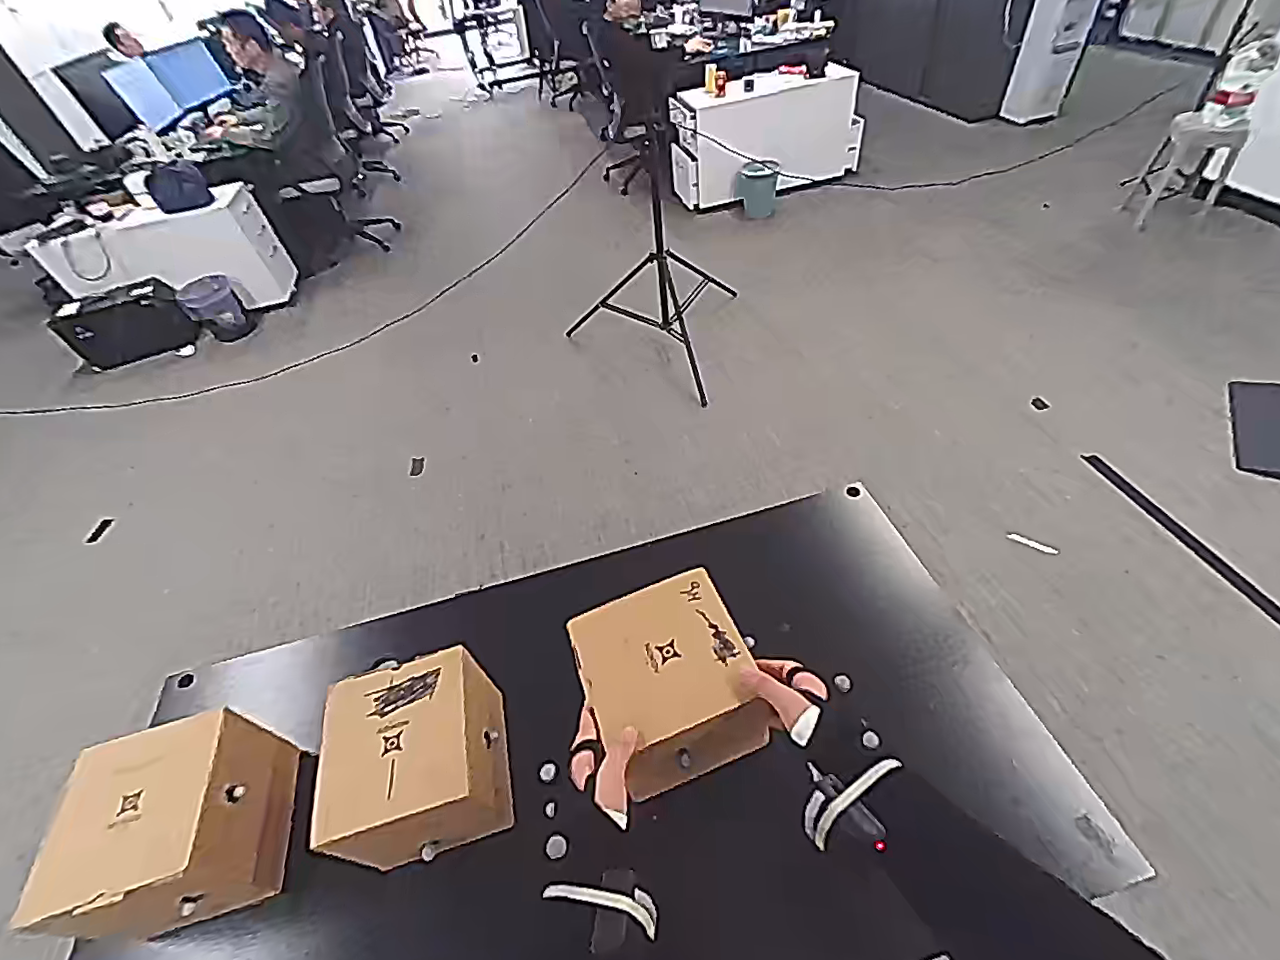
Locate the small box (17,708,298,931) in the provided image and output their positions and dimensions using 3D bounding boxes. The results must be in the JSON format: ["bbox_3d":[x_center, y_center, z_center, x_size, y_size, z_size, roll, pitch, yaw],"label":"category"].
[{"bbox_3d":[-0.547,0.411,0.651,0.168,0.176,0.179,-15,47,-7],"label":"small box"}]

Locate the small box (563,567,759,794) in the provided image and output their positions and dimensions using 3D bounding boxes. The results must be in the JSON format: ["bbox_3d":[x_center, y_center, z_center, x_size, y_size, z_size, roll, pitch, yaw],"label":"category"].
[{"bbox_3d":[0.030,0.239,0.637,0.179,0.176,0.168,-20,47,-6],"label":"small box"}]

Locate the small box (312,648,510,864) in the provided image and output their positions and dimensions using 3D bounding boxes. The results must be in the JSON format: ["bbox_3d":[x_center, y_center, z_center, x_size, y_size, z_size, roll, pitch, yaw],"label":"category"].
[{"bbox_3d":[-0.269,0.343,0.671,0.168,0.176,0.179,-15,48,-6],"label":"small box"}]
